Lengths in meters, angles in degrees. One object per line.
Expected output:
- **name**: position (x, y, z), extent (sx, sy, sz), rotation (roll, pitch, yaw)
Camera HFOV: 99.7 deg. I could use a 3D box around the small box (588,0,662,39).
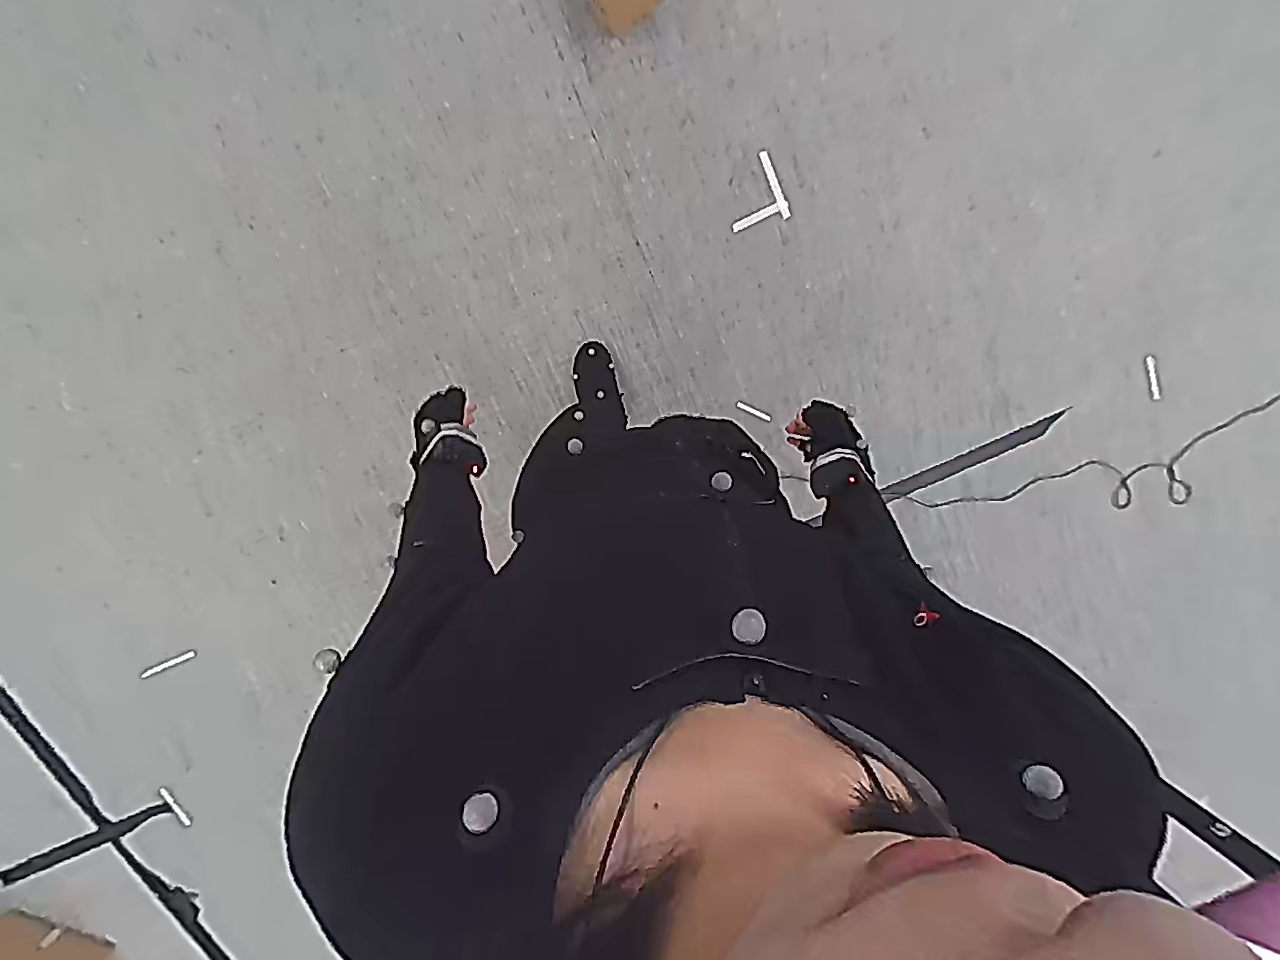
- **small box**: position (-0.031, -1.156, 1.203), extent (0.179, 0.176, 0.168), rotation (-42, 101, 4)
